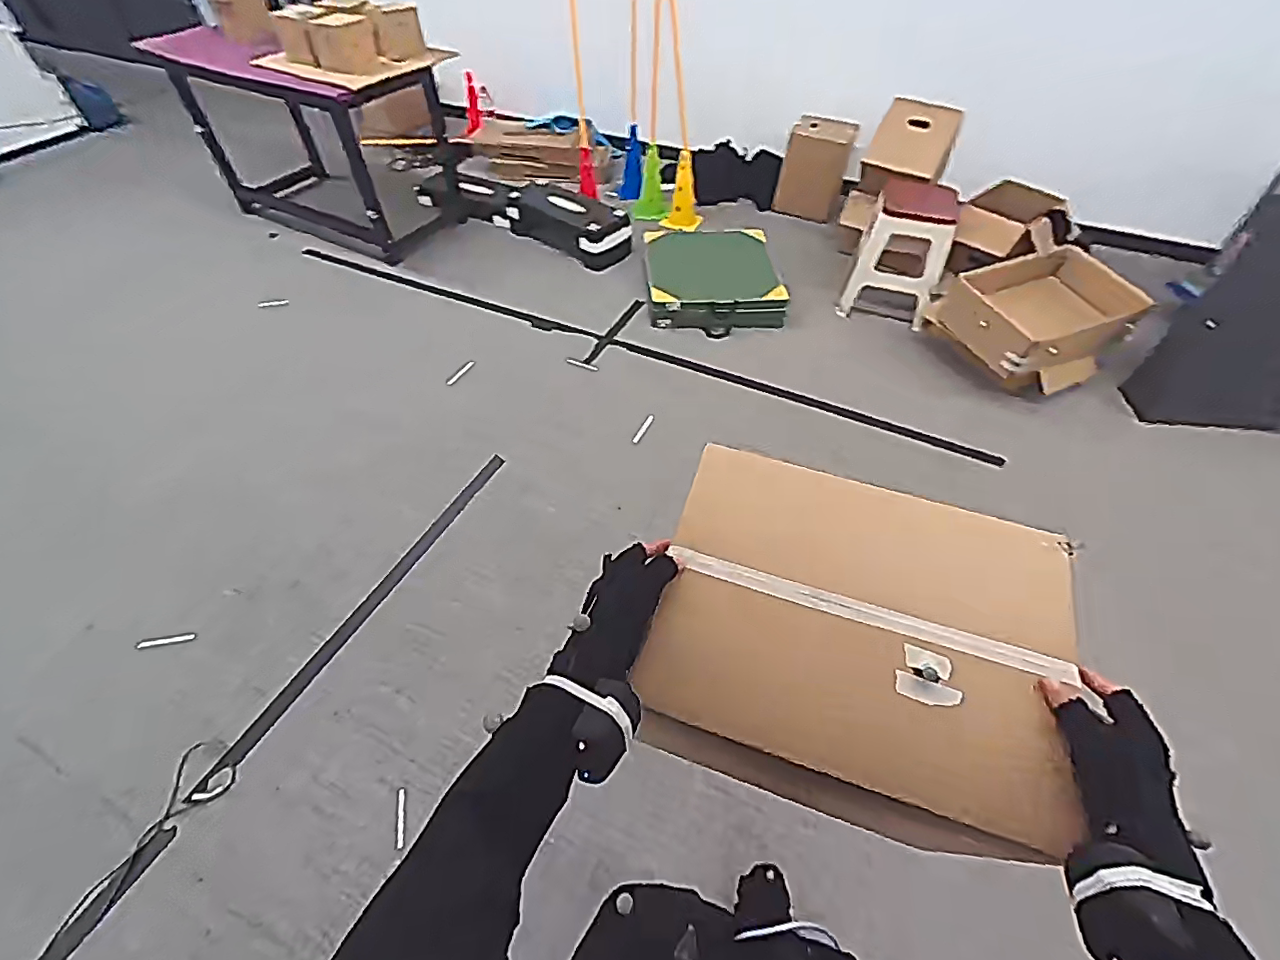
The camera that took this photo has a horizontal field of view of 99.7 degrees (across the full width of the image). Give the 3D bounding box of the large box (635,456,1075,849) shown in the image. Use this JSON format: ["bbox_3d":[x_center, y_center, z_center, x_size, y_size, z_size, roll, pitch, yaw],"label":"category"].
[{"bbox_3d":[0.226,0.219,0.691,0.408,0.320,0.320,16,61,10],"label":"large box"}]
